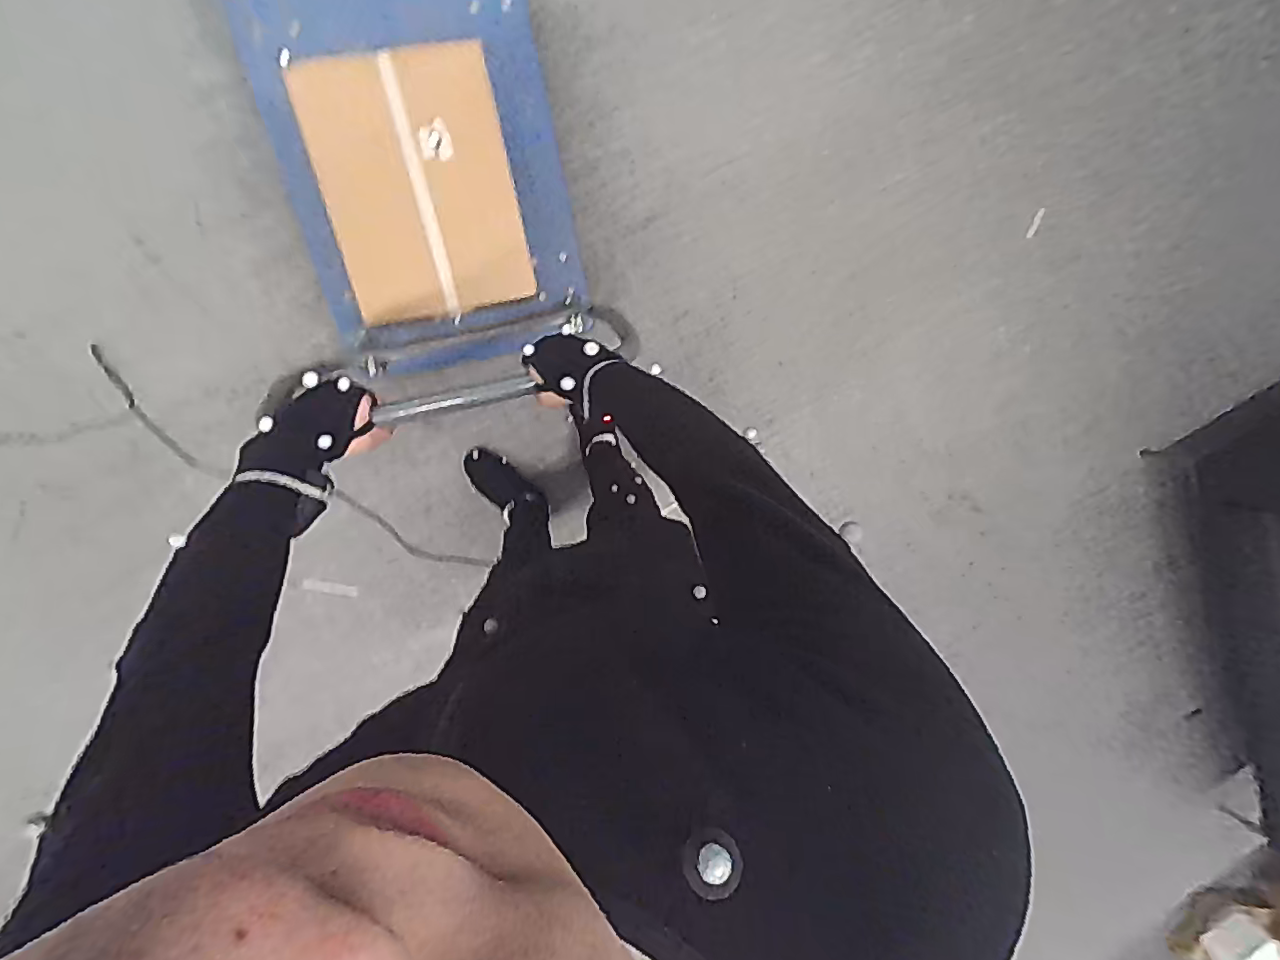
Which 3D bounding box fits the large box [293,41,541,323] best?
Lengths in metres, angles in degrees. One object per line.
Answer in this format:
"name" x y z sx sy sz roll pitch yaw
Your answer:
"large box" -0.398 -0.547 1.077 0.320 0.320 0.408 -14 107 -9
